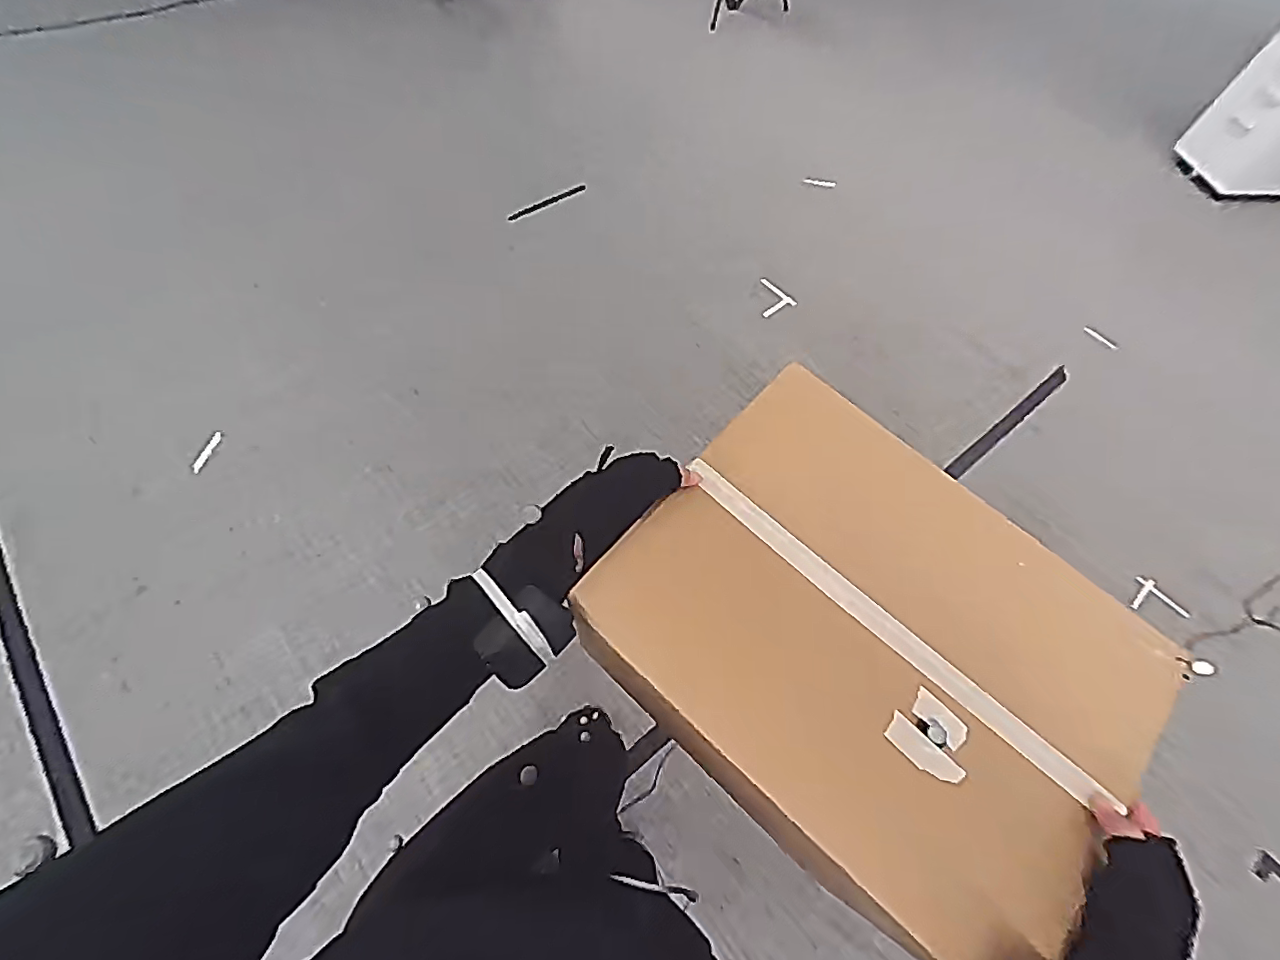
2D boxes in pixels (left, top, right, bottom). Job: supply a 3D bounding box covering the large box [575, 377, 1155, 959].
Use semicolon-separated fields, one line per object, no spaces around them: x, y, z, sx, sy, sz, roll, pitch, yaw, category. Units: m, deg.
0.178;0.176;0.582;0.408;0.320;0.320;41;71;11;large box
